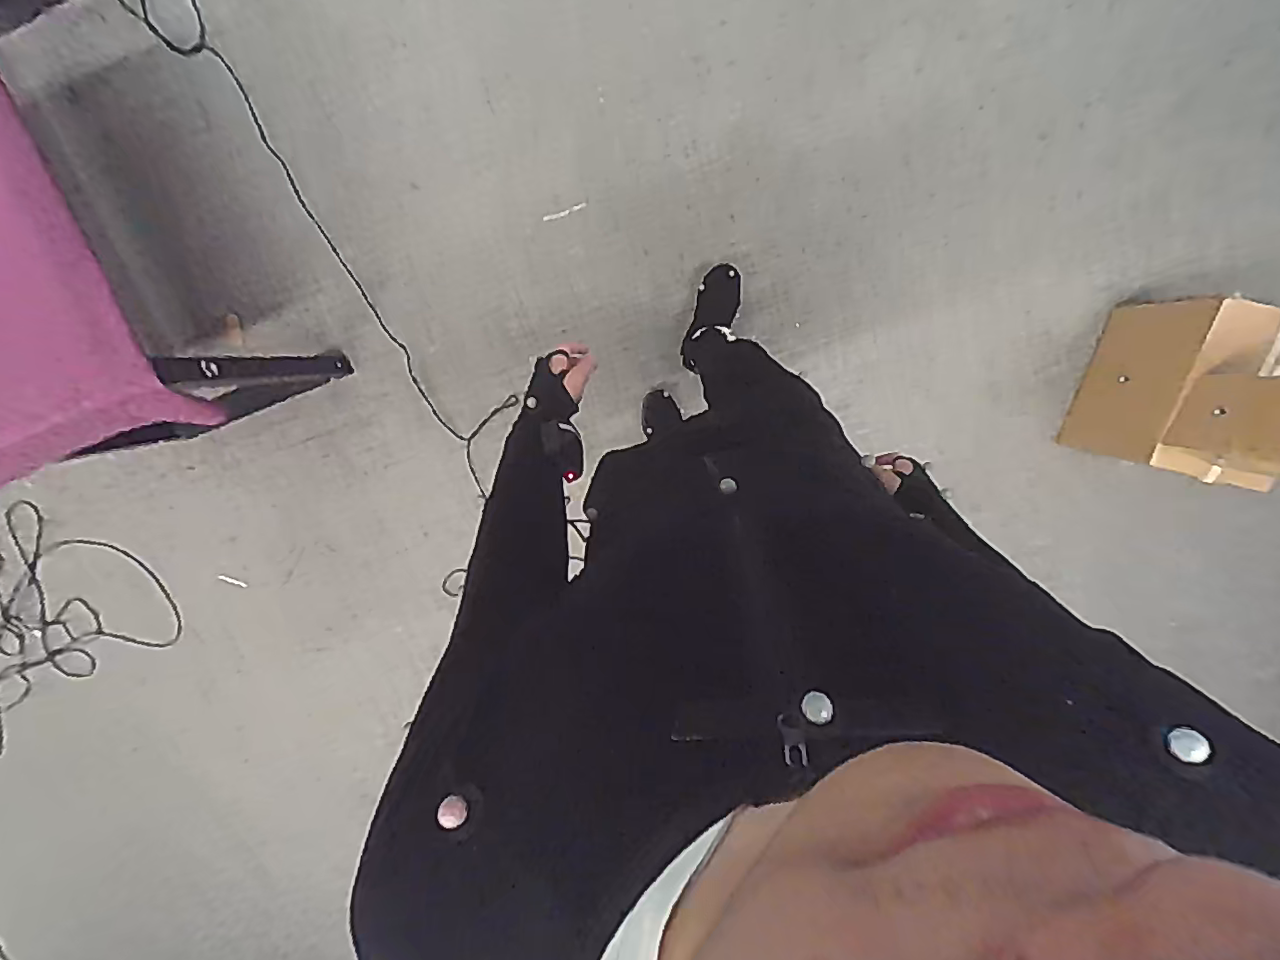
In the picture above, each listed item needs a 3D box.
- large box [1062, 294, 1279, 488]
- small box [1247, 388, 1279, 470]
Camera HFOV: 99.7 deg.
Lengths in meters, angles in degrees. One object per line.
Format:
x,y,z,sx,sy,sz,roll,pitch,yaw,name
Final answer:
1.409,-0.228,1.398,0.320,0.320,0.408,12,102,-3,large box
1.328,-0.083,1.015,0.168,0.176,0.179,17,102,-2,small box
